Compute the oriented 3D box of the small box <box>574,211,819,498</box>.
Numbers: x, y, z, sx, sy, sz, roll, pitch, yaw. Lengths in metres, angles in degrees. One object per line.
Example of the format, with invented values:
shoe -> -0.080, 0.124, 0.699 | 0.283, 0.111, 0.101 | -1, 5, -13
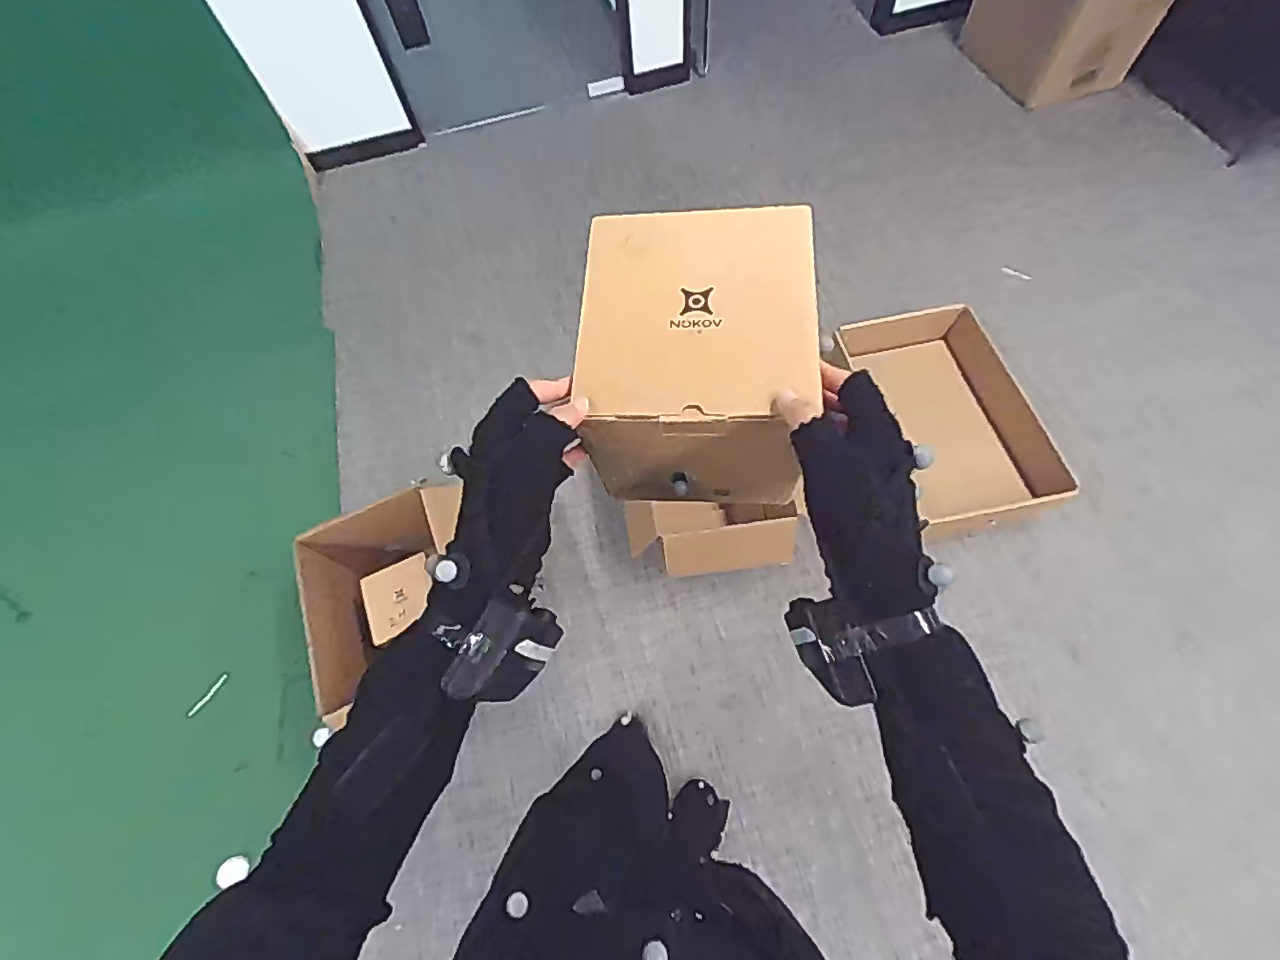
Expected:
small box -> 0.049, -0.096, 0.461 | 0.168, 0.176, 0.179 | 1, 70, 8
